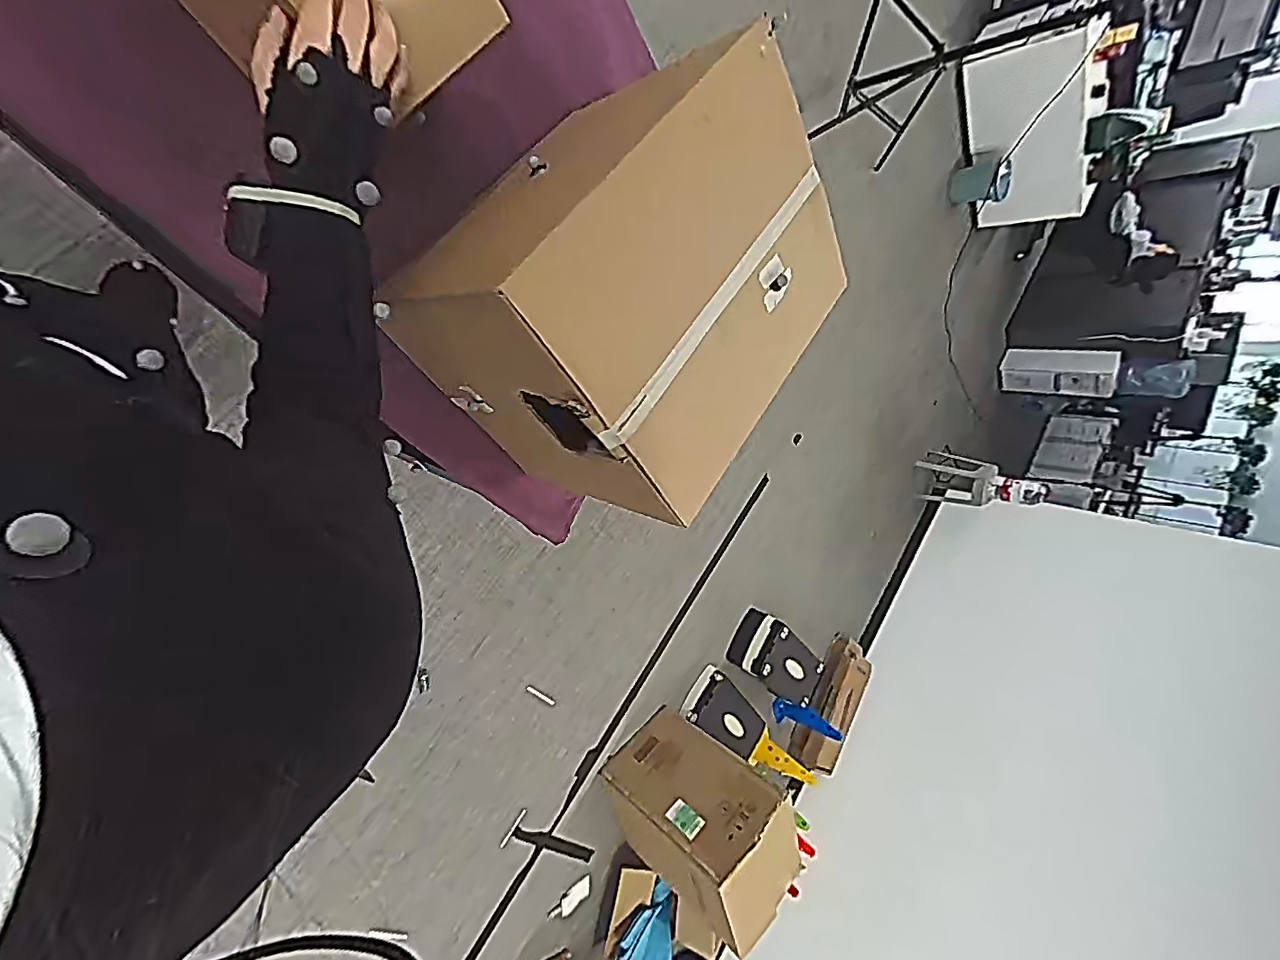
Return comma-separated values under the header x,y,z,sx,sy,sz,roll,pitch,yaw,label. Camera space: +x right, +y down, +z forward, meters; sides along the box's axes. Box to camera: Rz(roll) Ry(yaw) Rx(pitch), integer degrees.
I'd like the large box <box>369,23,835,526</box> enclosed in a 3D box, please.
x,y,z,sx,sy,sz,roll,pitch,yaw,label
-0.026,-0.217,0.648,0.408,0.320,0.320,-55,134,-20,large box
